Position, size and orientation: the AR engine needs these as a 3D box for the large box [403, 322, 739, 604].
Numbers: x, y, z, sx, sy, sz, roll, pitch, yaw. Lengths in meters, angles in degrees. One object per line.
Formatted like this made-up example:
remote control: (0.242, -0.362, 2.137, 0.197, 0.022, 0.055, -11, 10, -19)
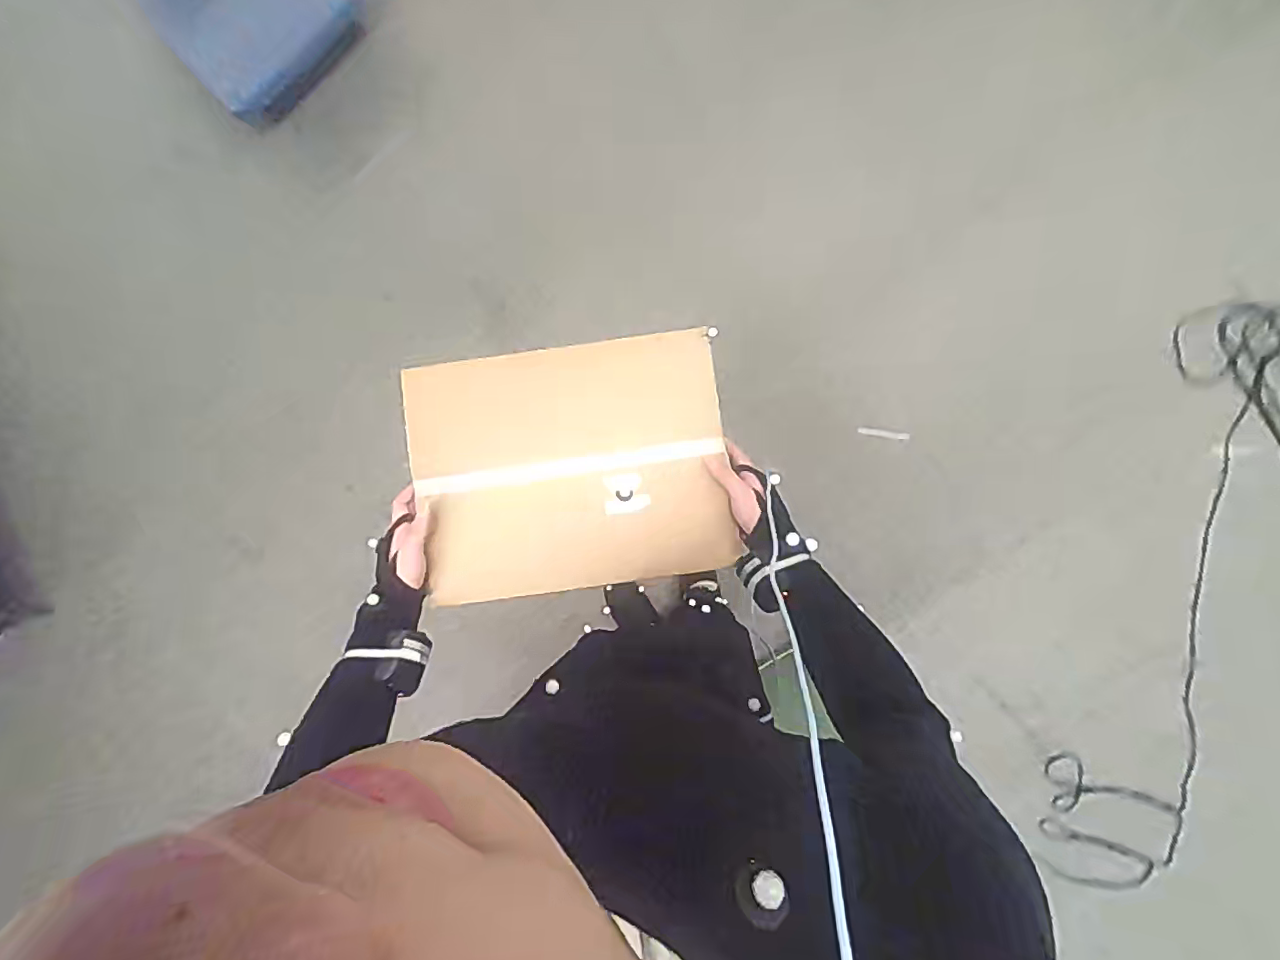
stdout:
large box: (-0.092, -0.013, 0.846, 0.408, 0.320, 0.320, -9, 86, 0)
